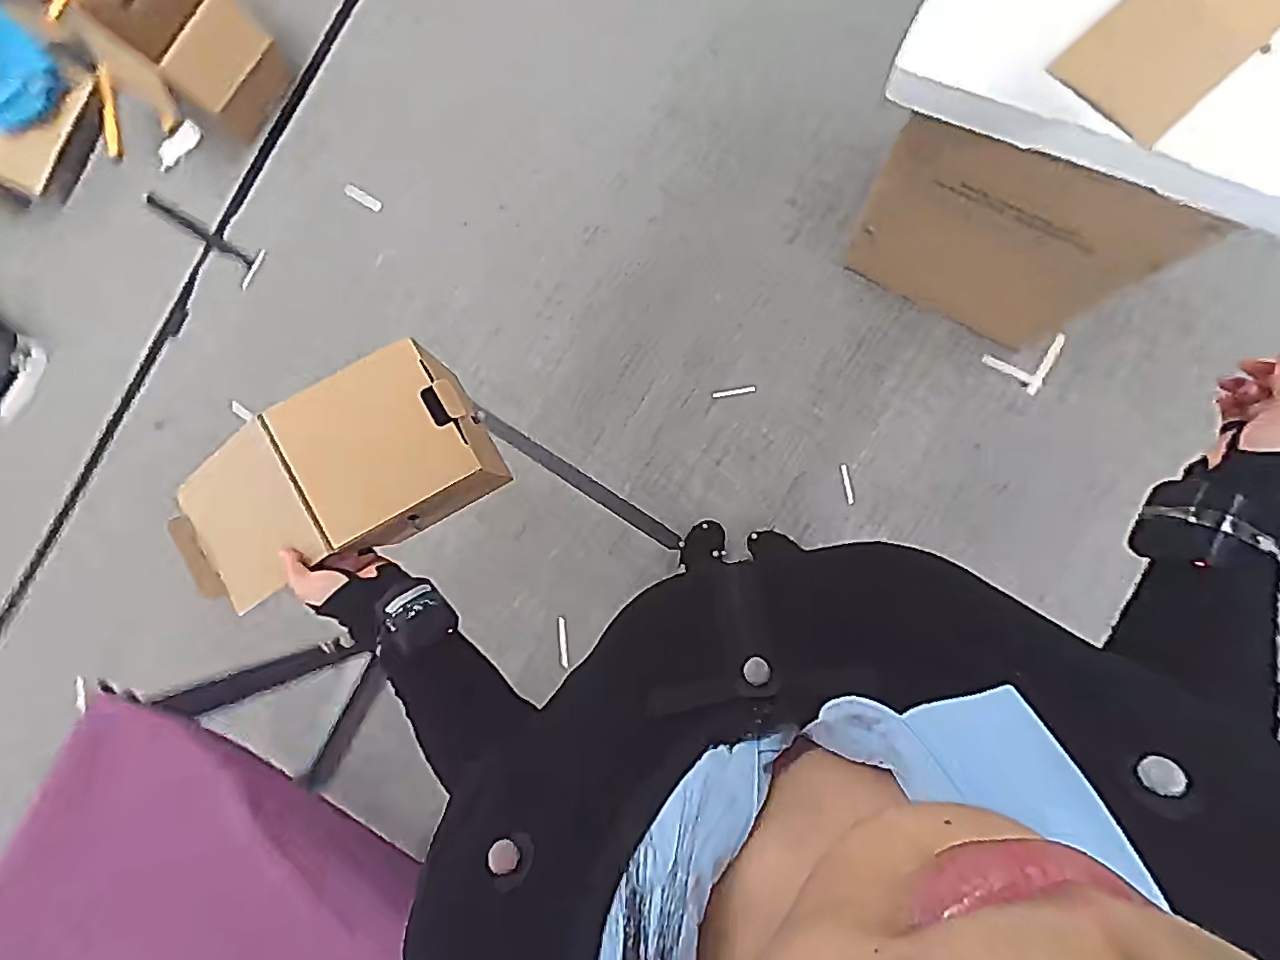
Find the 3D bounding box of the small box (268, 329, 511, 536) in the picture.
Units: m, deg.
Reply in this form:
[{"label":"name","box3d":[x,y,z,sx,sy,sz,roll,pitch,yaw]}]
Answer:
[{"label":"small box","box3d":[-0.278,-0.044,0.643,0.179,0.176,0.168,-28,87,-4]}]
